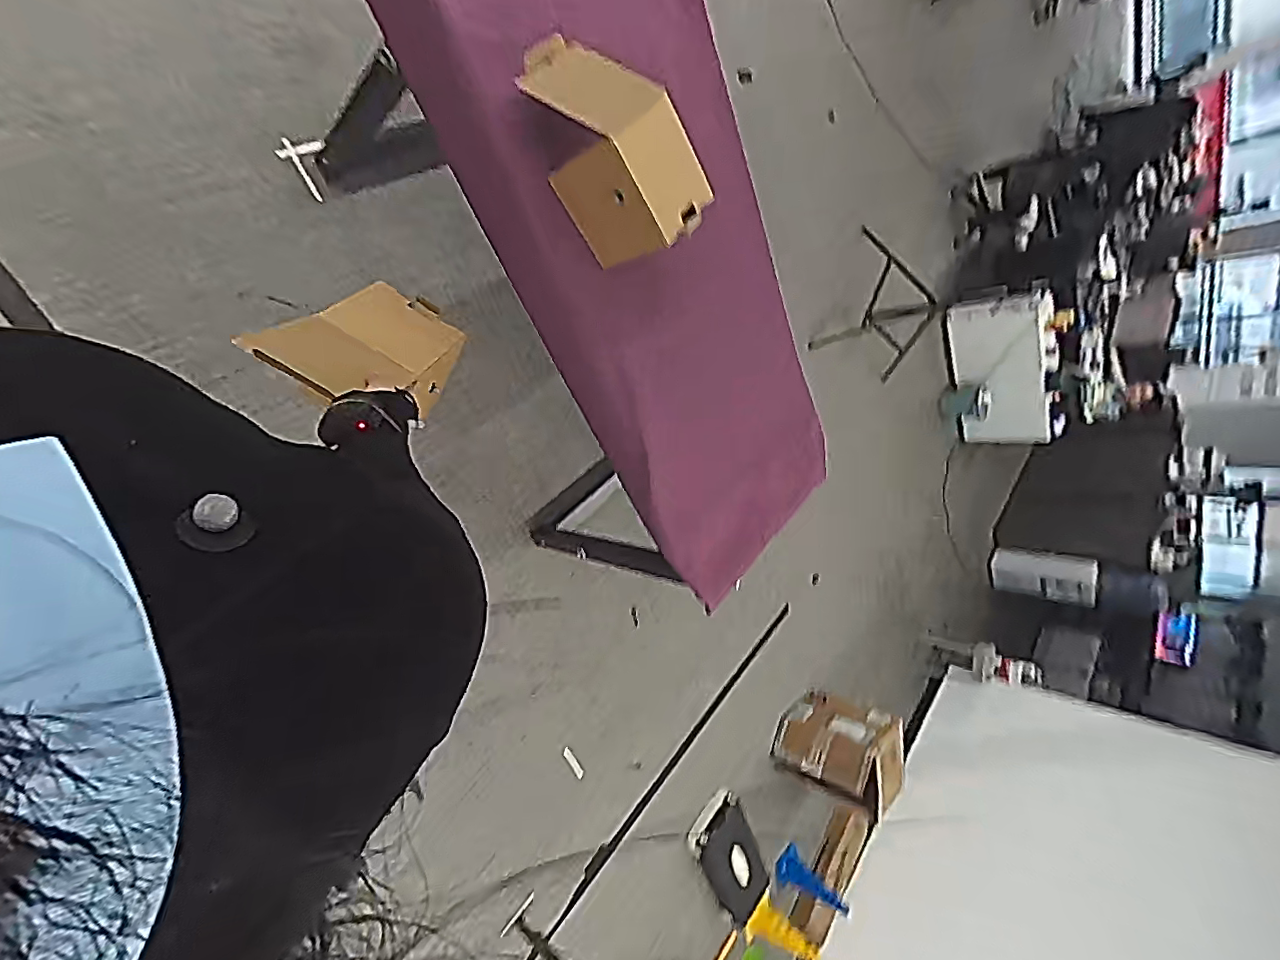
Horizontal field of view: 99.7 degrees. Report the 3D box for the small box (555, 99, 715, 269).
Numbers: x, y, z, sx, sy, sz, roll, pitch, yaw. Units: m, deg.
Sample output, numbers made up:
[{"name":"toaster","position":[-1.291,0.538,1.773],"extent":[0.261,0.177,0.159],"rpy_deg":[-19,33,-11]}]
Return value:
[{"name":"small box","position":[-0.010,-0.488,0.914],"extent":[0.168,0.176,0.179],"rpy_deg":[-53,126,-26]}]
